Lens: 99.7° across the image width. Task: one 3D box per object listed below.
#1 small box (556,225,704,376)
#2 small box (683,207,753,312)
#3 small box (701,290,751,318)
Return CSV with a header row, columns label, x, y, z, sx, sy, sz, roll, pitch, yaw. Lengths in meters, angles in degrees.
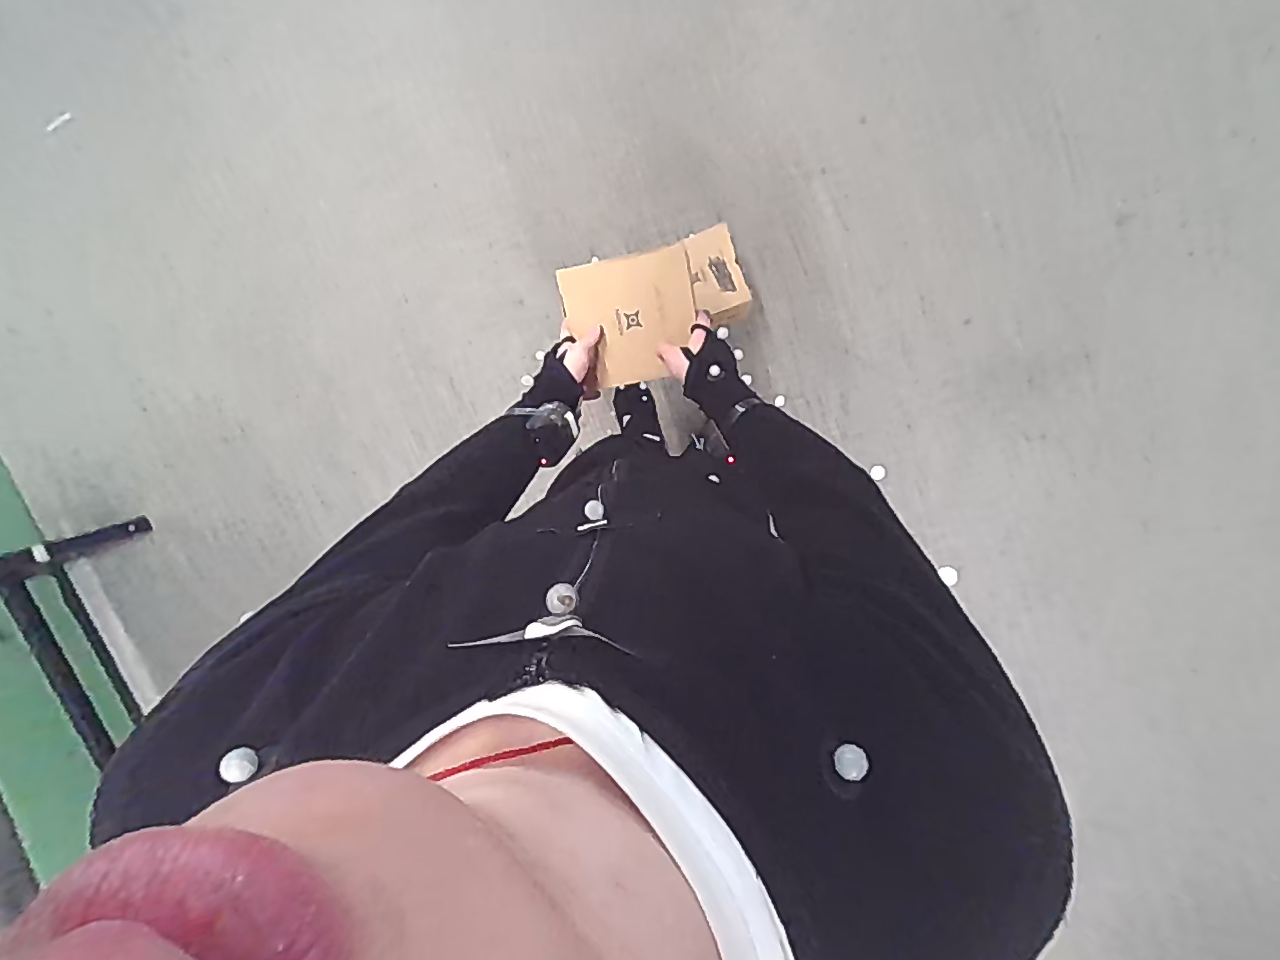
label,x,y,z,sx,sy,sz,roll,pitch,yaw
small box,-0.003,-0.258,0.794,0.179,0.176,0.168,-10,107,9
small box,0.140,-0.469,1.193,0.179,0.176,0.168,-18,99,14
small box,0.174,-0.509,1.350,0.168,0.176,0.179,-17,100,13
